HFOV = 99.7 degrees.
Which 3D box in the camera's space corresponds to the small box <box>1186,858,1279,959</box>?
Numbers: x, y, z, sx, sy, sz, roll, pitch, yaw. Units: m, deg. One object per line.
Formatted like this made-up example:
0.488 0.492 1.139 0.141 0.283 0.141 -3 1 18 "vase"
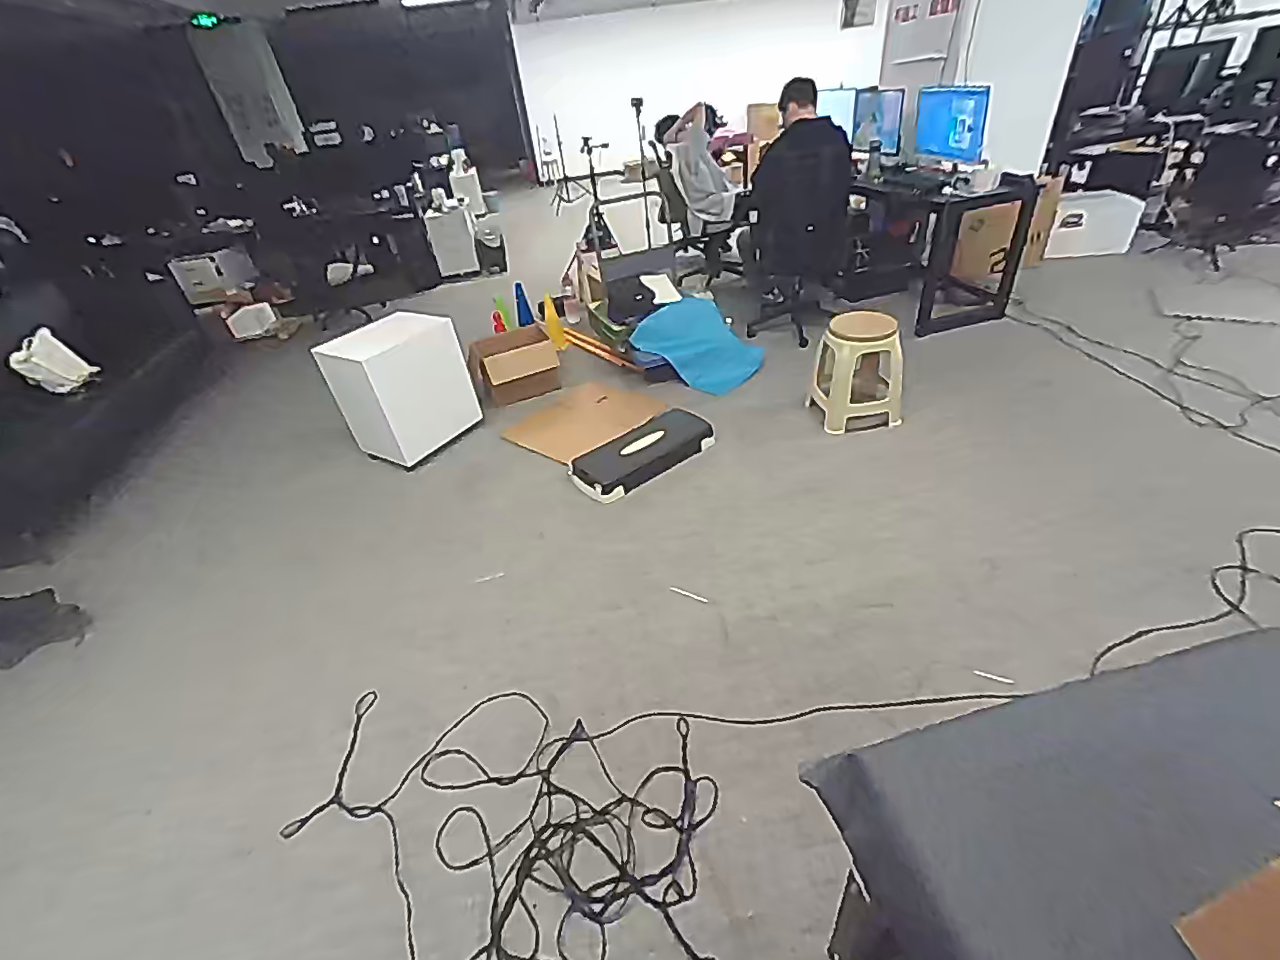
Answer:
0.570 0.384 0.379 0.168 0.176 0.179 -8 35 -1 "small box"
